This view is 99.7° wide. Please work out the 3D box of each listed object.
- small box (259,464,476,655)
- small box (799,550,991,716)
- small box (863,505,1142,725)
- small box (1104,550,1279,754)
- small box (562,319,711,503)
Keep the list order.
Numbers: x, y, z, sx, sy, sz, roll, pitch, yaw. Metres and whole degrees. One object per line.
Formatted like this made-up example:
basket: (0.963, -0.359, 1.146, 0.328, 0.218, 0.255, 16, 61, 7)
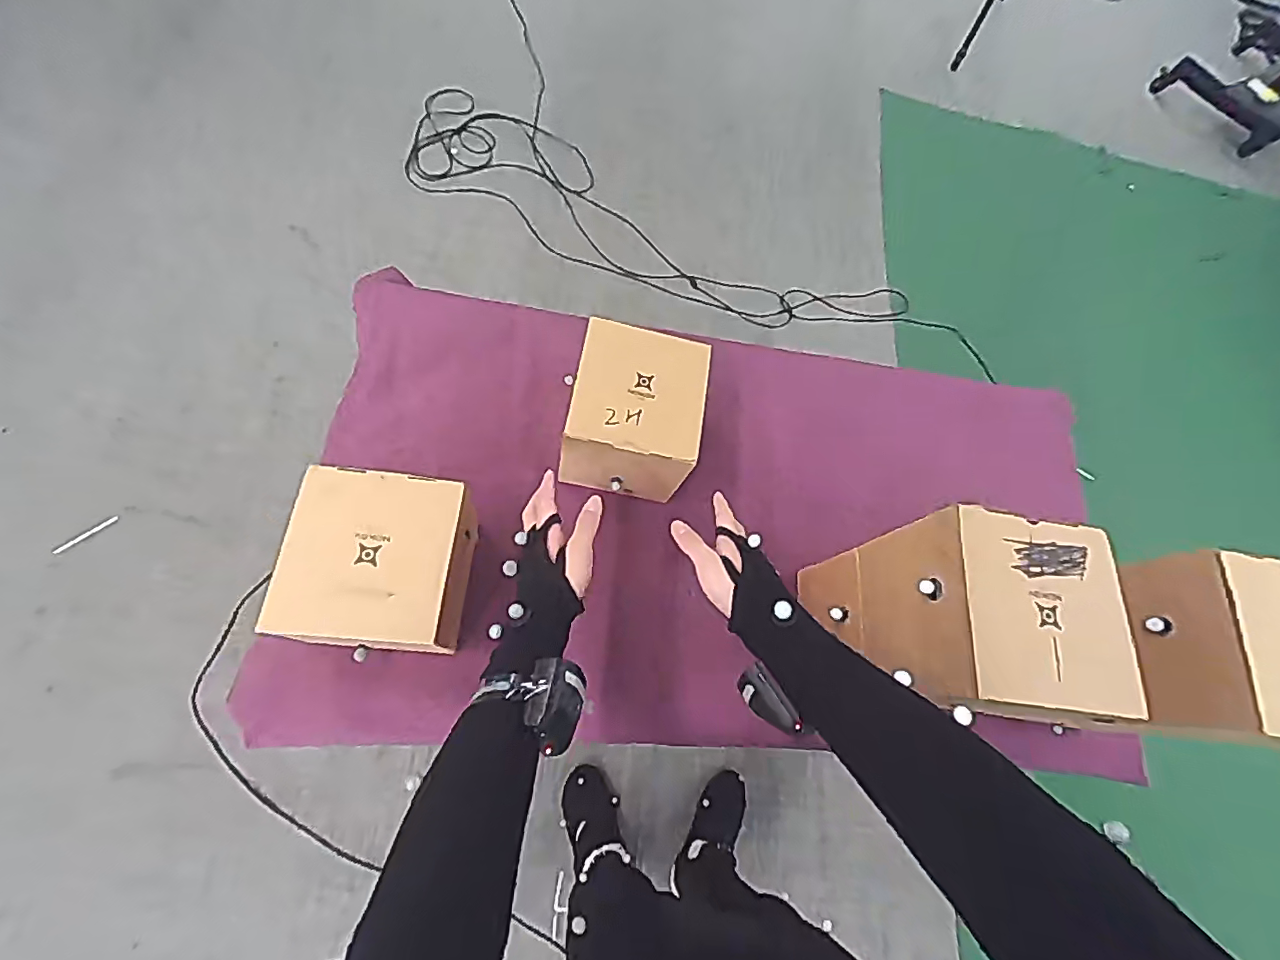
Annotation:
small box: (-0.292, 0.102, 0.629, 0.168, 0.176, 0.179, 8, 69, -8)
small box: (0.321, 0.205, 0.711, 0.168, 0.176, 0.179, 9, 67, -7)
small box: (0.351, 0.145, 0.562, 0.168, 0.176, 0.179, 10, 69, -7)
small box: (0.627, 0.194, 0.593, 0.168, 0.176, 0.179, 11, 67, -5)
small box: (-0.012, -0.087, 0.752, 0.168, 0.176, 0.179, 12, 69, -6)
